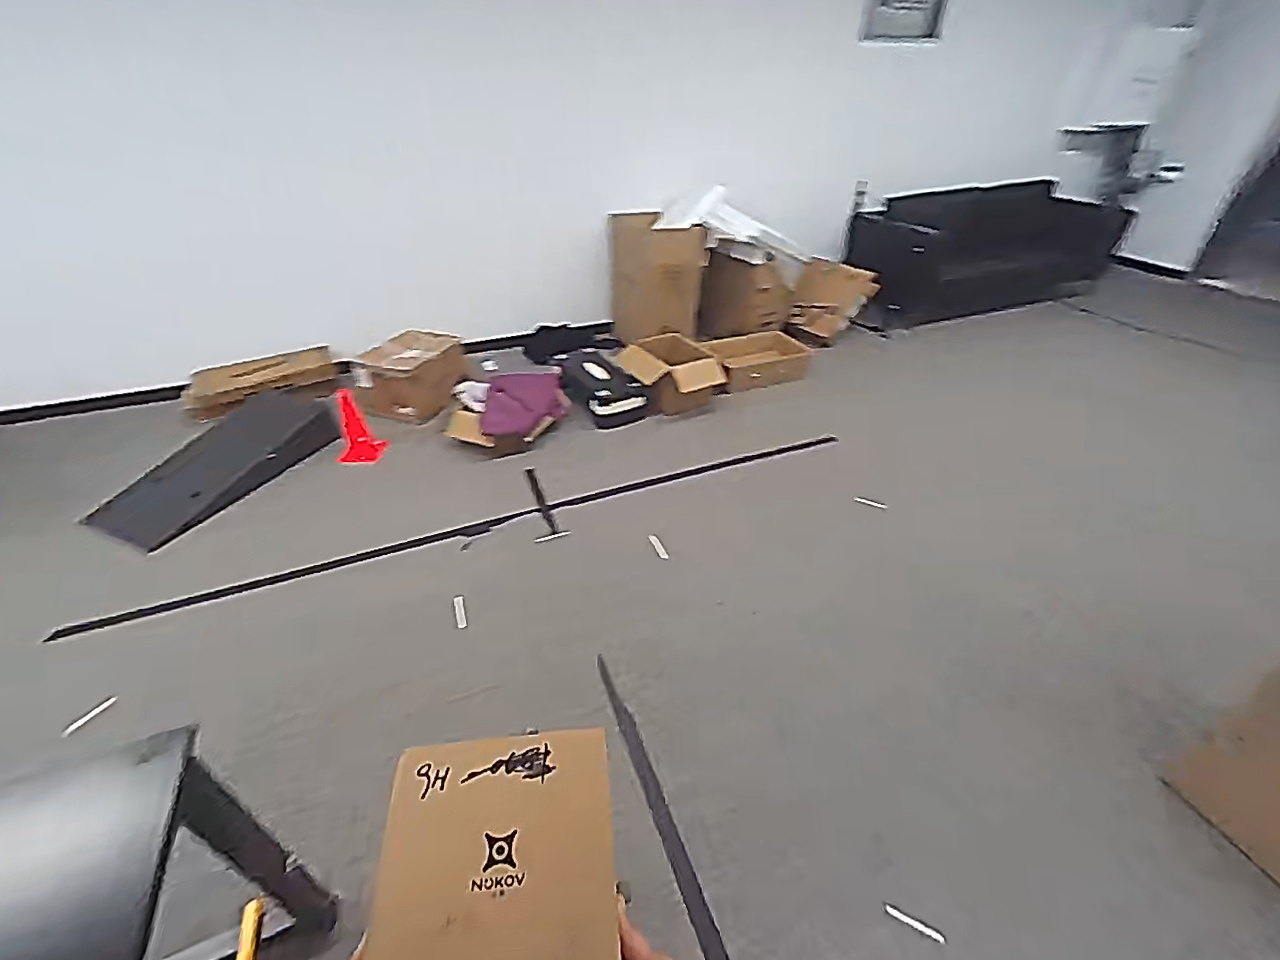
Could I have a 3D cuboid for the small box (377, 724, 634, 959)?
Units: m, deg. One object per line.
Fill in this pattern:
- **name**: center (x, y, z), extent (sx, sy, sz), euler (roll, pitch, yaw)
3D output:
- **small box**: center (-0.093, 0.326, 0.444), extent (0.168, 0.176, 0.179), euler (-4, 46, -5)
